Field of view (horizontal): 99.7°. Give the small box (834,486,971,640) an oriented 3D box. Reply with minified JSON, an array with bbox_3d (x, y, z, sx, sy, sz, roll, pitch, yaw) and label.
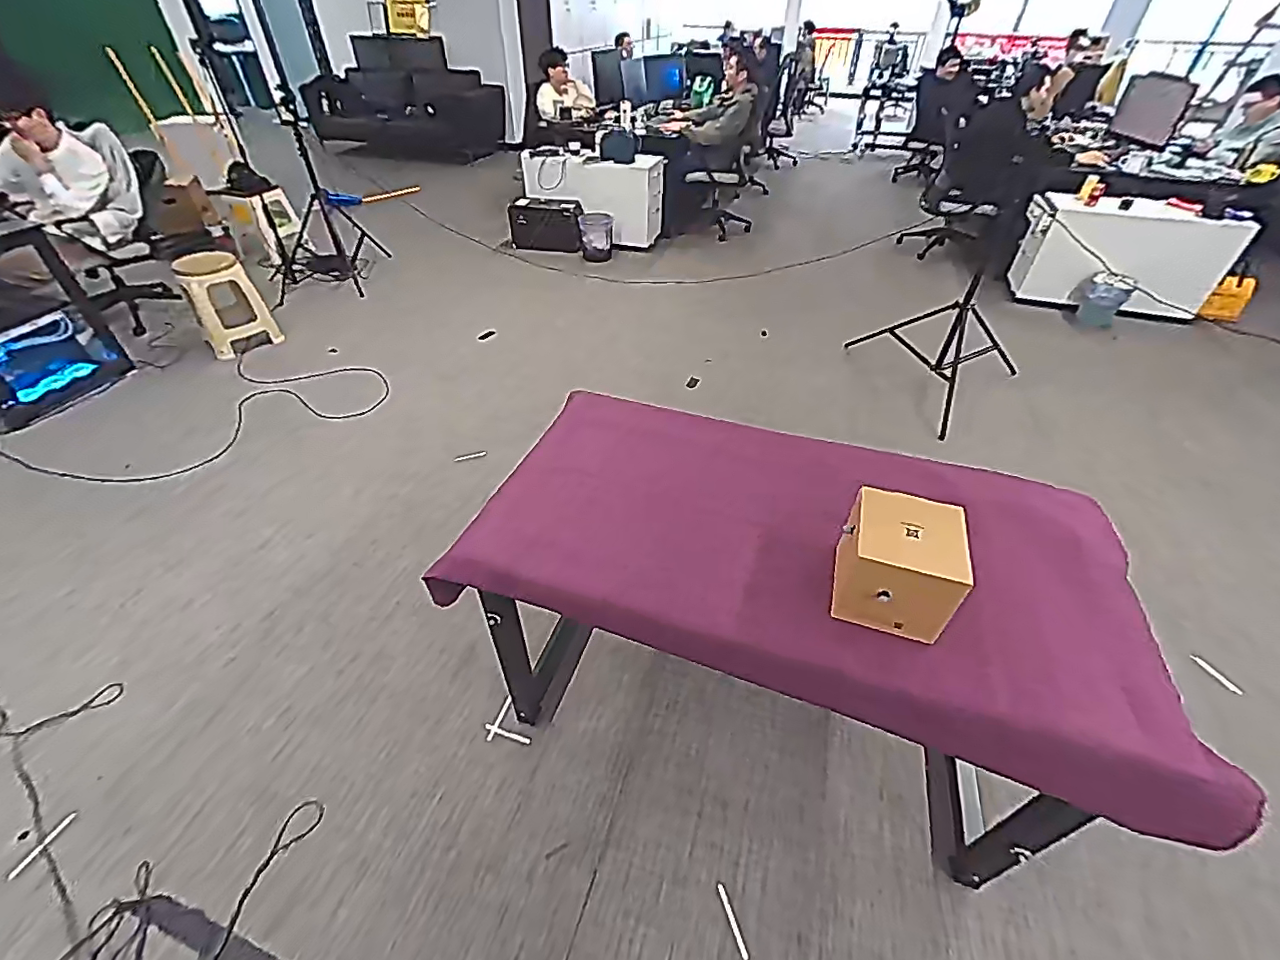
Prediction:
[{"bbox_3d":[0.437,0.142,0.922,0.168,0.176,0.179,13,42,14],"label":"small box"}]
